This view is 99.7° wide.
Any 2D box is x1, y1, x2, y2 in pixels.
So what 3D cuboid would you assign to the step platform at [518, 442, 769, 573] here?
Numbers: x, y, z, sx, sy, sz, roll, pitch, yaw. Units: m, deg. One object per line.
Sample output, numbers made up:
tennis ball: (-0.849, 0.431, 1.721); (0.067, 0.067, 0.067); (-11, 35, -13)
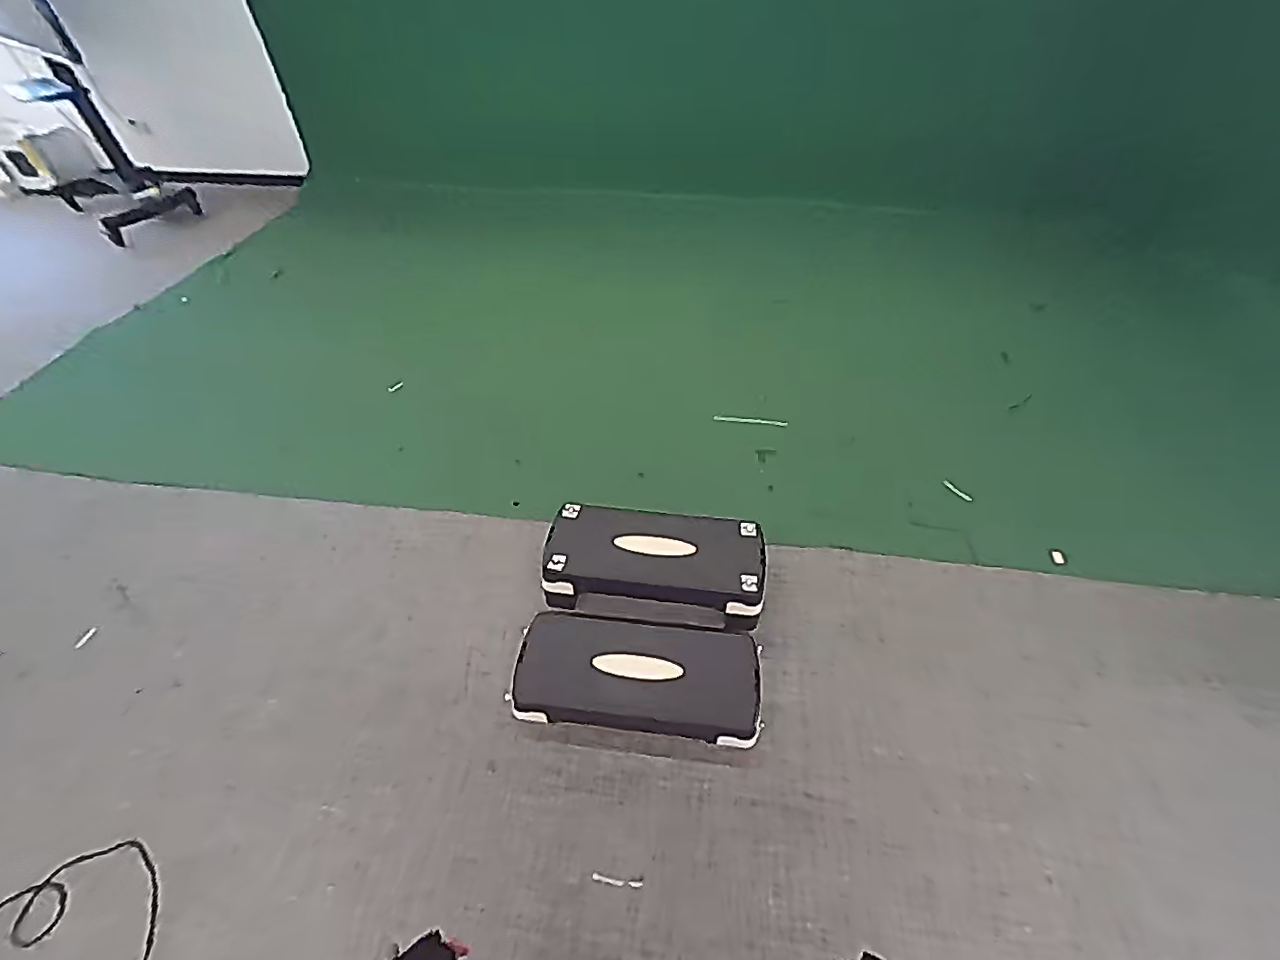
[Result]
step platform: (0.014, 0.079, 1.560); (0.684, 0.204, 0.286); (5, 48, 5)
